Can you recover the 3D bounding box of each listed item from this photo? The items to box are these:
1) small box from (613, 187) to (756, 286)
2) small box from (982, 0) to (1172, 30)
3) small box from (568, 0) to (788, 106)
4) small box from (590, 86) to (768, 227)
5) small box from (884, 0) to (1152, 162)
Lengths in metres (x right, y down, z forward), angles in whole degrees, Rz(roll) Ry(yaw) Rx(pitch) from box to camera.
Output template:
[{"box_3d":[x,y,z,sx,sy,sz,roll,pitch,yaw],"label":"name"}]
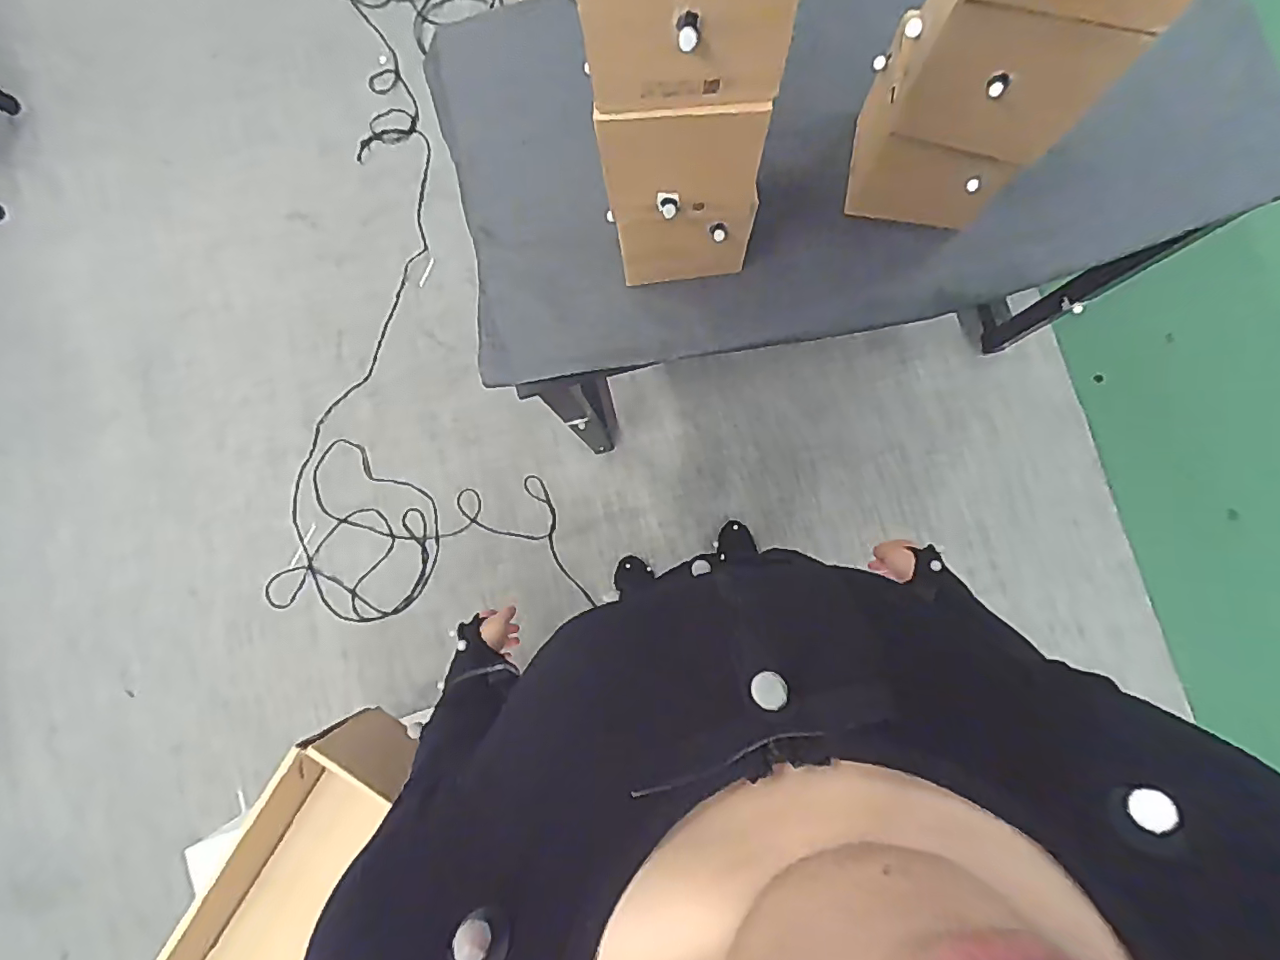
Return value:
[{"box_3d":[0.051,-0.388,0.745,0.179,0.176,0.168,-6,82,3],"label":"small box"},{"box_3d":[0.377,-0.491,0.405,0.179,0.176,0.168,15,84,4],"label":"small box"},{"box_3d":[0.029,-0.428,0.421,0.168,0.176,0.179,-2,84,4],"label":"small box"},{"box_3d":[0.041,-0.403,0.583,0.168,0.176,0.179,-1,84,5],"label":"small box"},{"box_3d":[0.390,-0.473,0.566,0.179,0.176,0.168,17,84,6],"label":"small box"}]
